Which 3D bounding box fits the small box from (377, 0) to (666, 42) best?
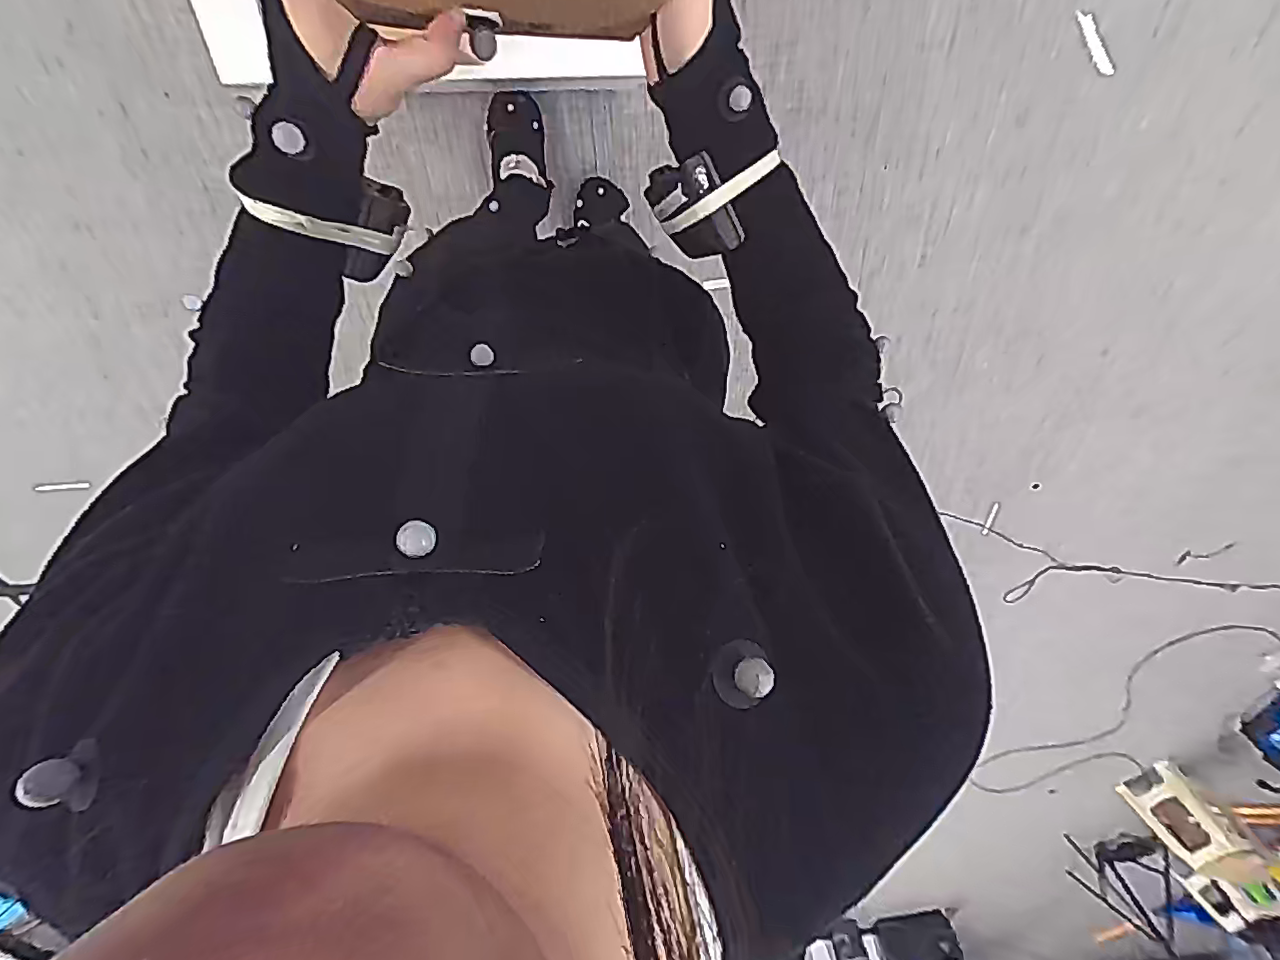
[{"bbox_3d":[-0.064,-0.317,0.227,0.168,0.176,0.179,-5,119,-8],"label":"small box"}]
